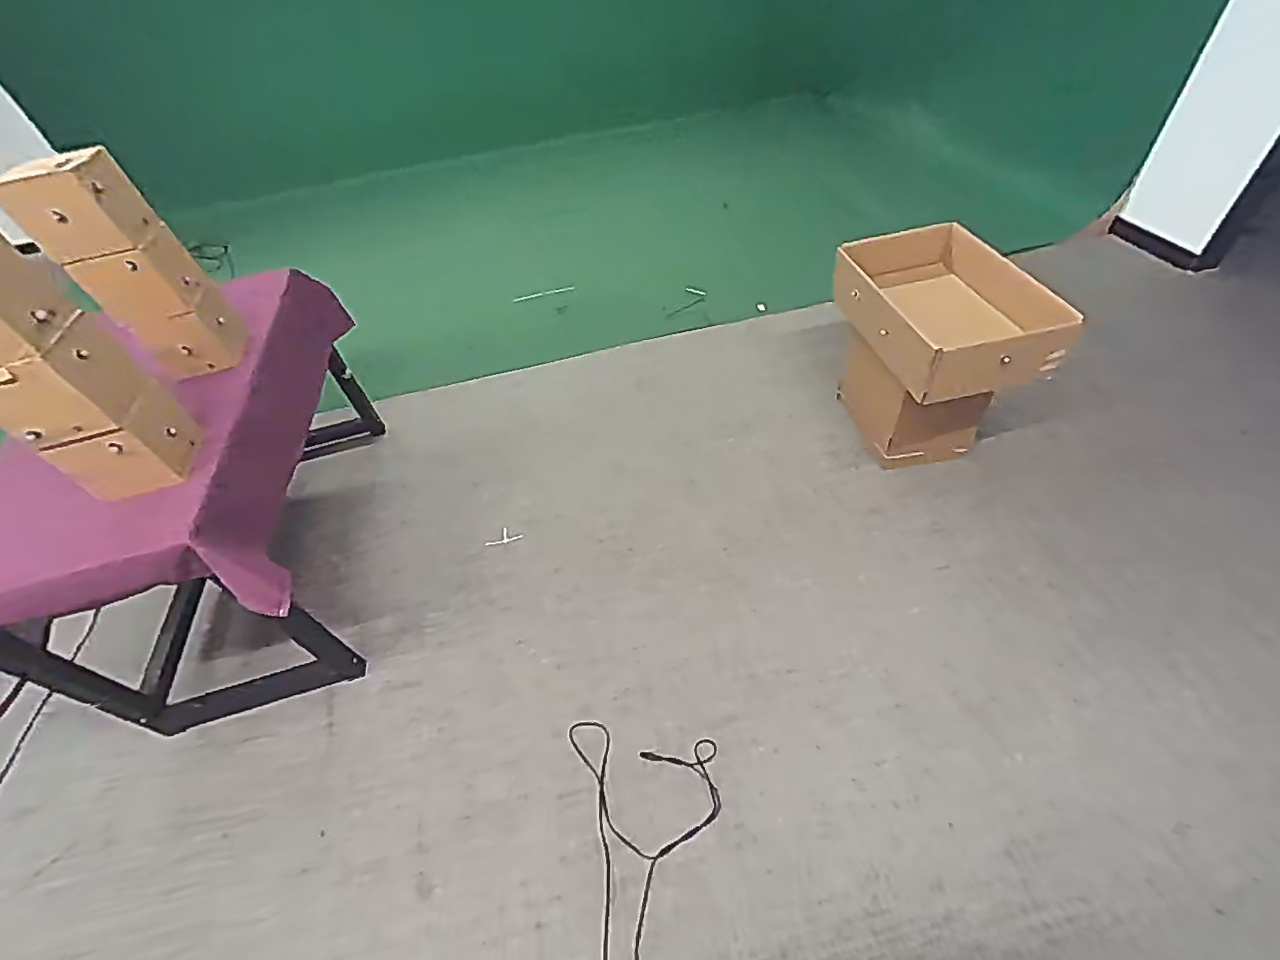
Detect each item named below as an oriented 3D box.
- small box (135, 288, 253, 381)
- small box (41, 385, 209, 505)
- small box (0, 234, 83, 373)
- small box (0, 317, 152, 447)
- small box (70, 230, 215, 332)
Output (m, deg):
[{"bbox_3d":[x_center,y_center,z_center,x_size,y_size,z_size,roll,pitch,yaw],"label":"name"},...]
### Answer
[{"bbox_3d":[-1.195,-0.388,1.468,0.168,0.176,0.179,-16,49,-5],"label":"small box"},{"bbox_3d":[-1.090,-0.074,1.167,0.179,0.176,0.168,-16,47,-4],"label":"small box"},{"bbox_3d":[-1.140,-0.288,0.924,0.179,0.176,0.168,-17,48,-6],"label":"small box"},{"bbox_3d":[-1.110,-0.182,1.045,0.168,0.176,0.179,-16,47,-5],"label":"small box"},{"bbox_3d":[-1.222,-0.492,1.345,0.179,0.176,0.168,-15,47,-5],"label":"small box"}]
